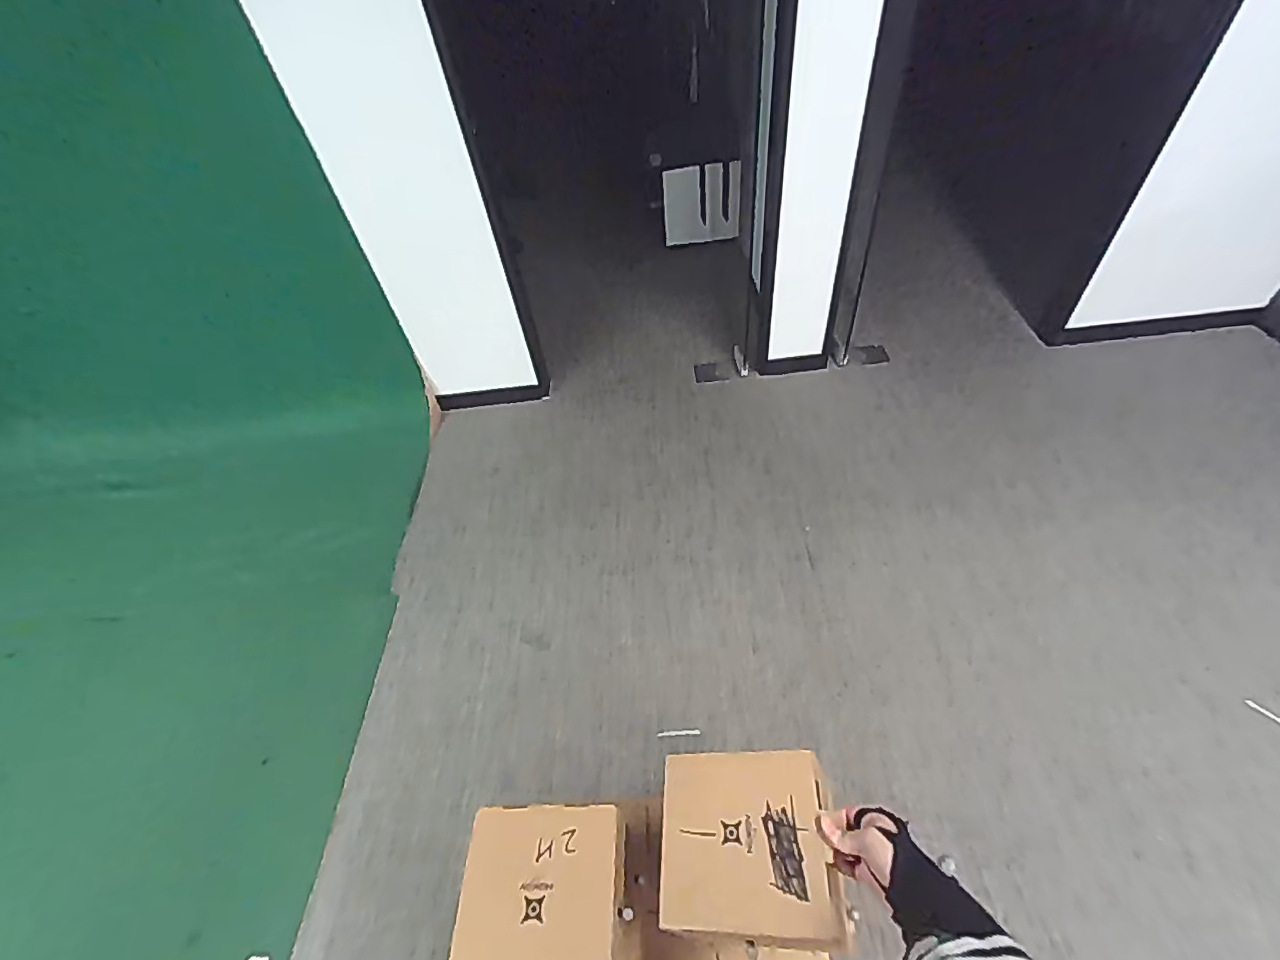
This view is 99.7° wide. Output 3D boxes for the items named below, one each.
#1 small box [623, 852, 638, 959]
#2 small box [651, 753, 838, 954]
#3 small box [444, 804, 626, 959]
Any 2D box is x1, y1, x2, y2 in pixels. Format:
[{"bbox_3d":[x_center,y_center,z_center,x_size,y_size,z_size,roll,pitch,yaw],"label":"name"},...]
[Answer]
[{"bbox_3d":[-0.091,0.611,0.739,0.168,0.176,0.179,-4,48,3],"label":"small box"},{"bbox_3d":[0.127,0.430,0.627,0.179,0.176,0.168,-11,44,19],"label":"small box"},{"bbox_3d":[-0.106,0.492,0.626,0.168,0.176,0.179,-2,48,4],"label":"small box"}]
